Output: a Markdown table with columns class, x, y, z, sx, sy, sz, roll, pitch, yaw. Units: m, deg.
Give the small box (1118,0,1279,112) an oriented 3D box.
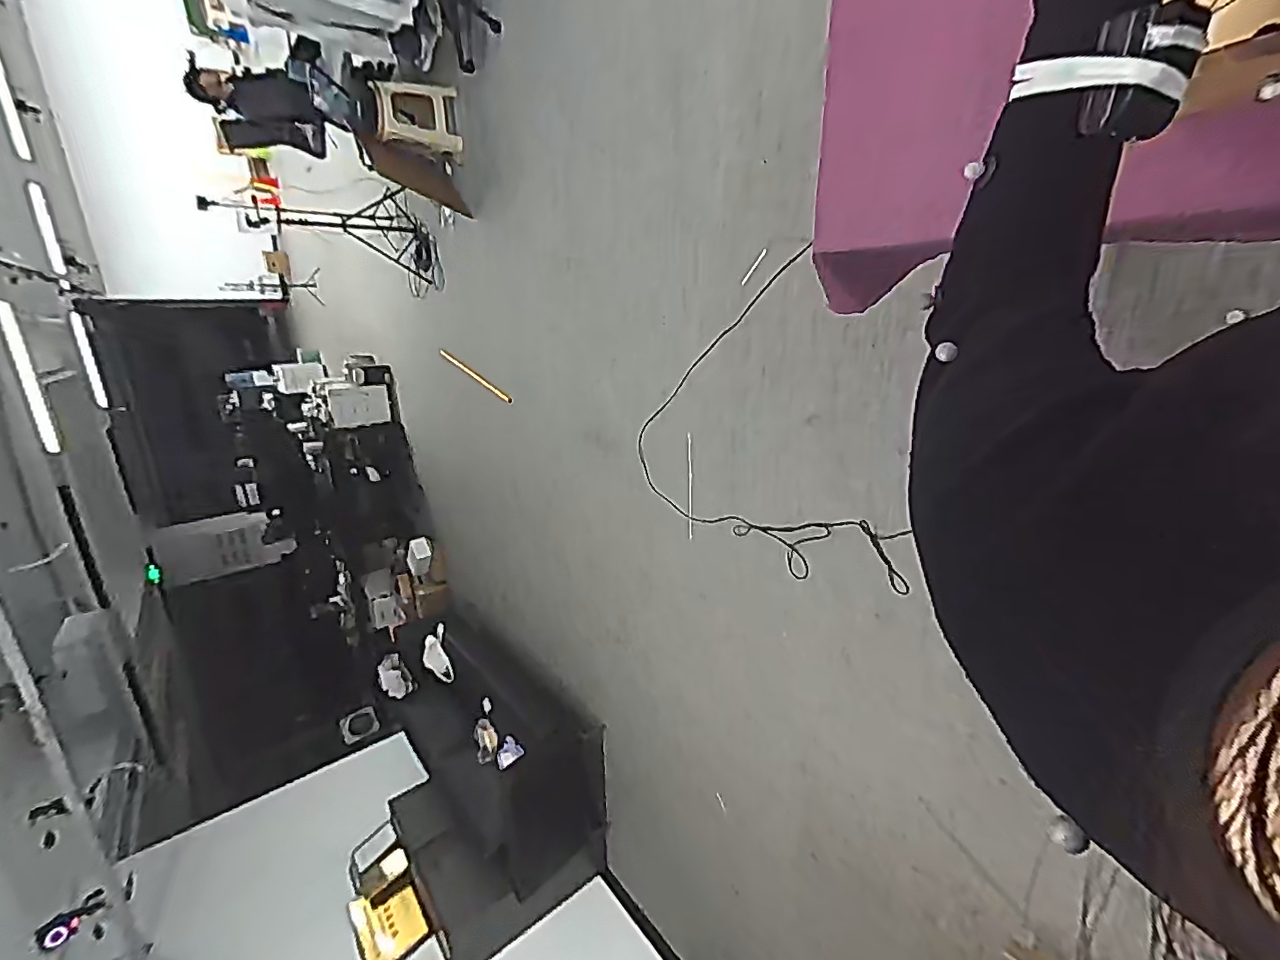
| class | x | y | z | sx | sy | sz | roll | pitch | yaw |
| --- | --- | --- | --- | --- | --- | --- | --- | --- | --- |
| small box | 0.506 | -0.418 | 0.412 | 0.168 | 0.176 | 0.179 | 17 | 115 | 50 |
